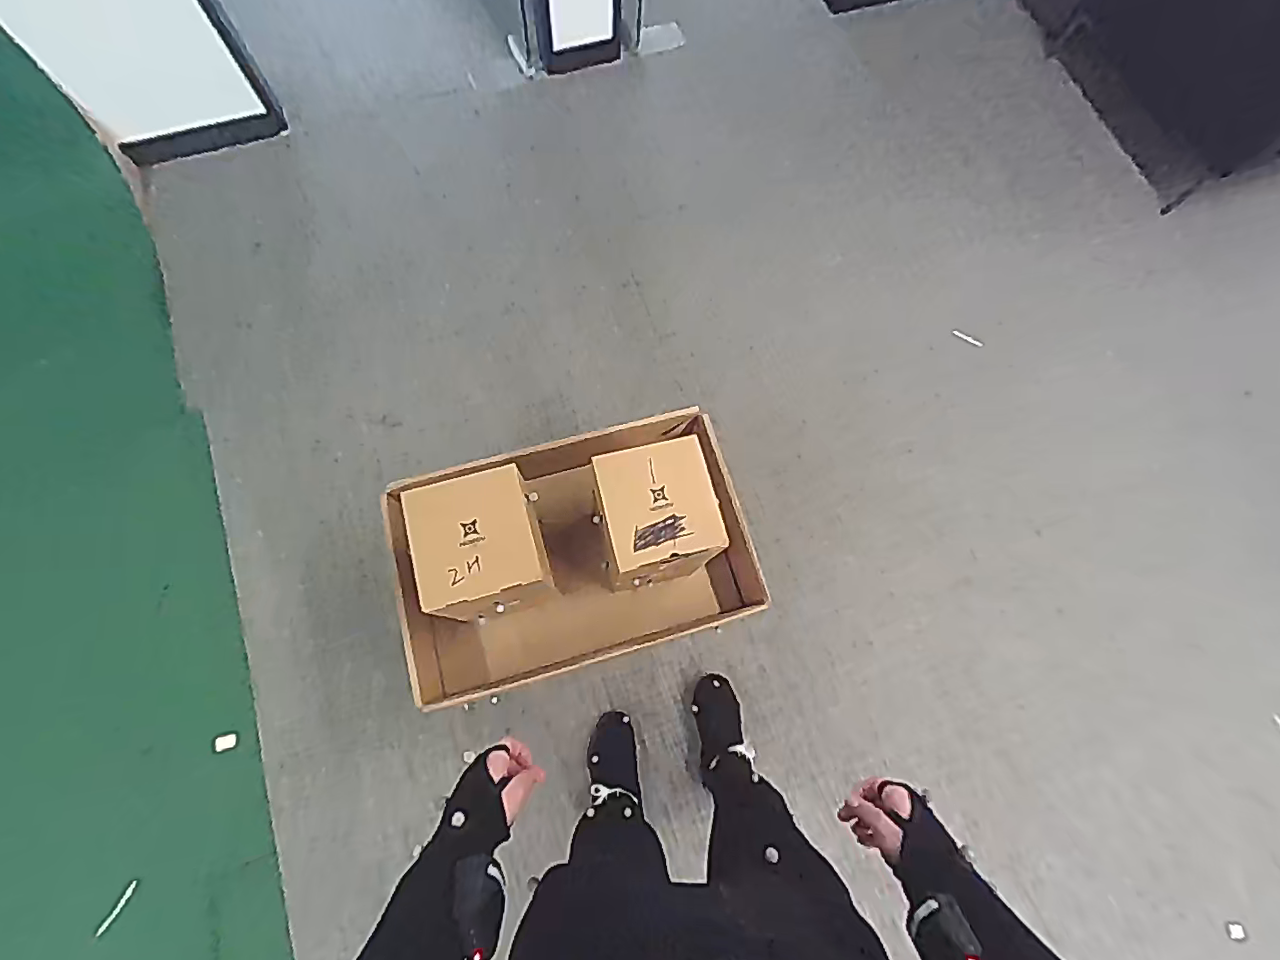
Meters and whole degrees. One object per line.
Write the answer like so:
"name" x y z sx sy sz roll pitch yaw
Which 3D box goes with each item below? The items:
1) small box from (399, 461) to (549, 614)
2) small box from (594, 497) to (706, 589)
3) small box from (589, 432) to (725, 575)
"small box" -0.241 0.094 0.818 0.168 0.176 0.179 -15 75 -7
"small box" 0.009 0.095 1.007 0.168 0.176 0.179 -13 75 -7
"small box" 0.019 0.047 0.850 0.168 0.176 0.179 -13 74 -7
